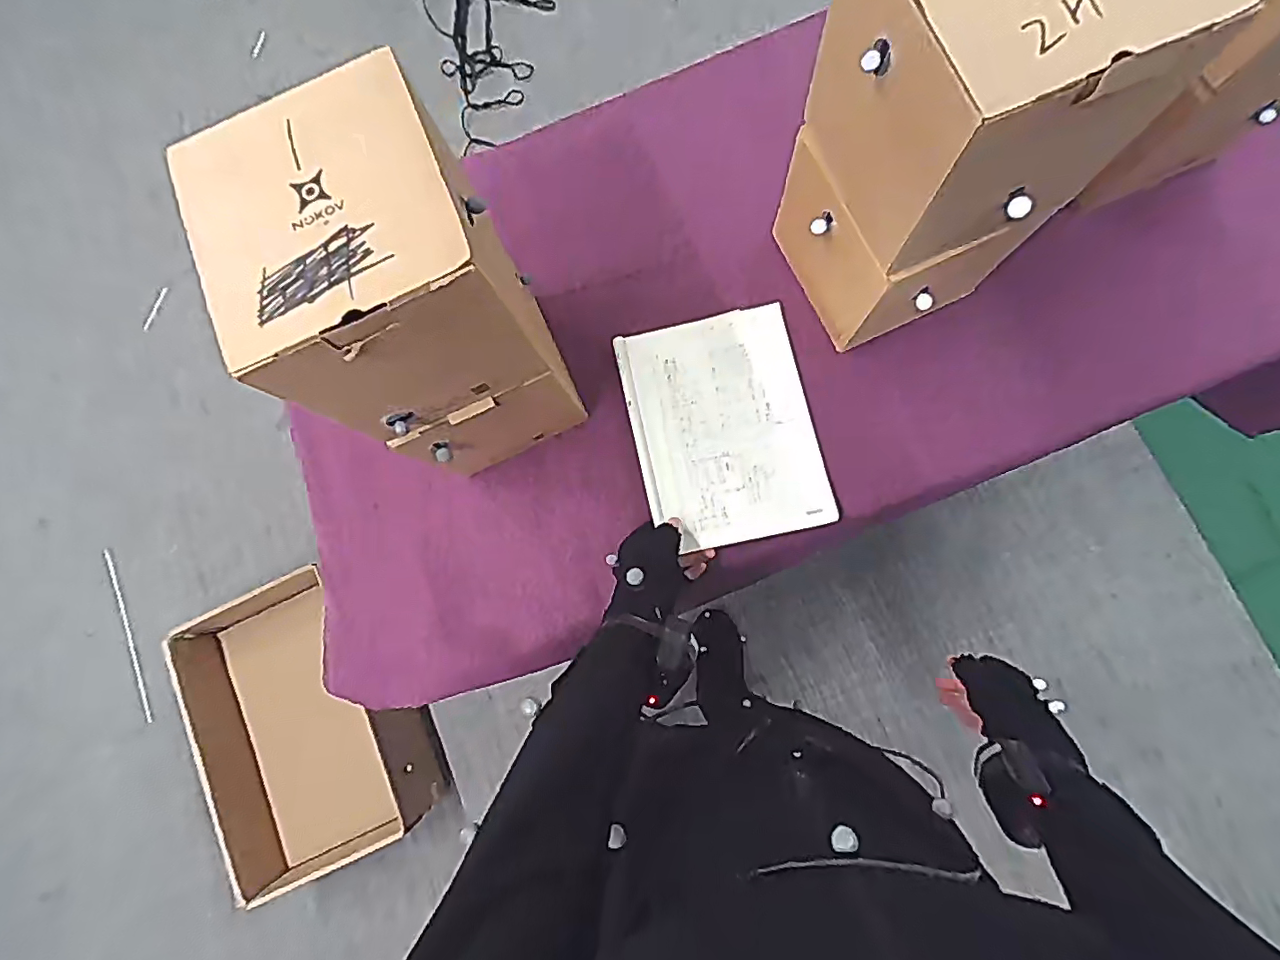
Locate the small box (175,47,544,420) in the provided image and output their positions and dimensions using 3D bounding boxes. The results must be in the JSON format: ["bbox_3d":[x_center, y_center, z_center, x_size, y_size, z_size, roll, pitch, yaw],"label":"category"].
[{"bbox_3d":[-0.192,-0.160,0.416,0.168,0.176,0.179,-23,78,1],"label":"small box"}]

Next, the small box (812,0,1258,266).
[{"bbox_3d":[0.247,-0.297,0.397,0.168,0.176,0.179,-21,80,3],"label":"small box"}]

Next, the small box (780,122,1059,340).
[{"bbox_3d":[0.263,-0.267,0.558,0.168,0.176,0.179,-24,80,2],"label":"small box"}]

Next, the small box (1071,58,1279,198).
[{"bbox_3d":[0.542,-0.425,0.553,0.168,0.176,0.179,-21,80,2],"label":"small box"}]
